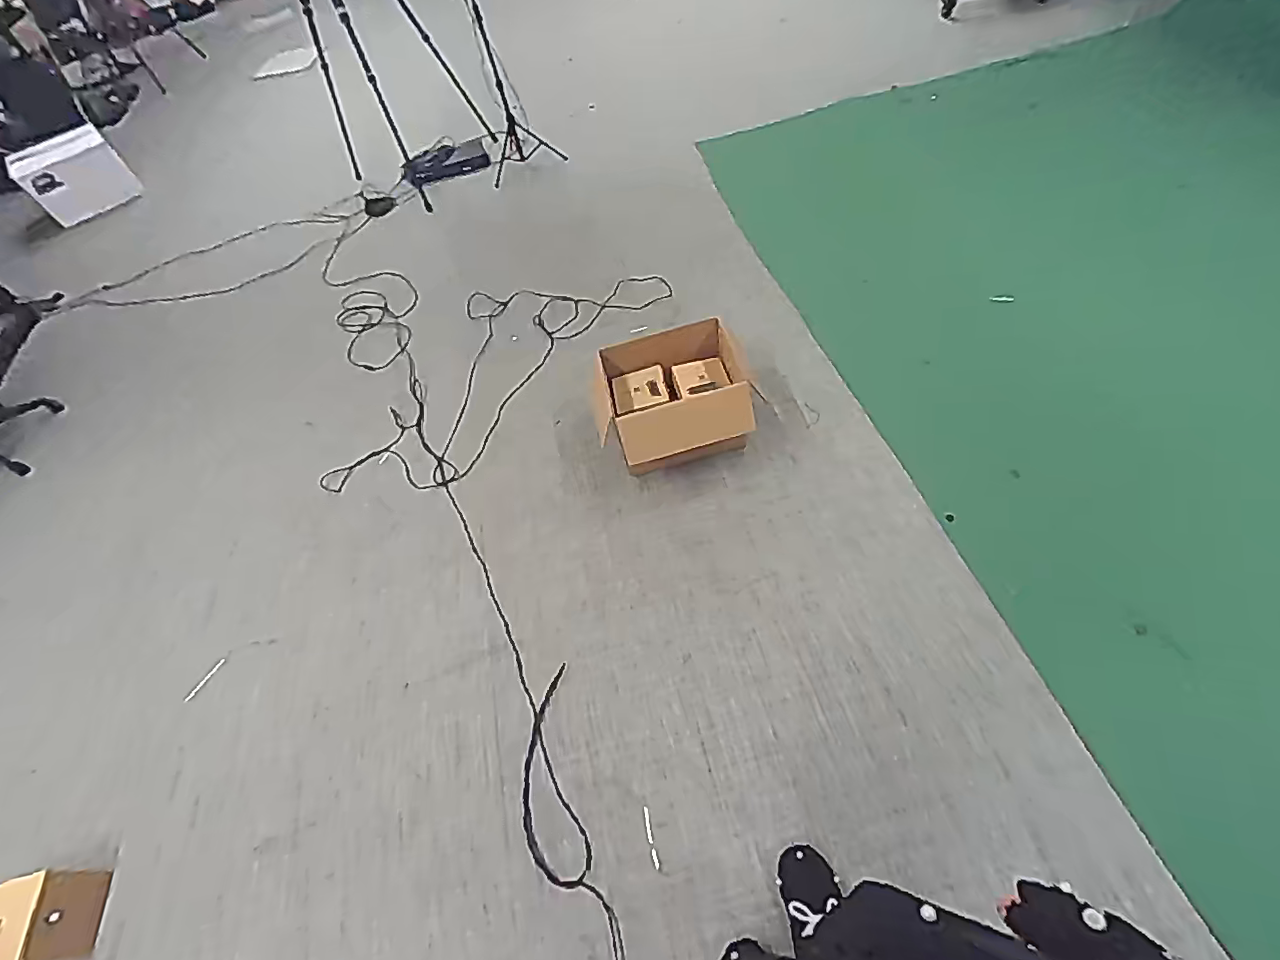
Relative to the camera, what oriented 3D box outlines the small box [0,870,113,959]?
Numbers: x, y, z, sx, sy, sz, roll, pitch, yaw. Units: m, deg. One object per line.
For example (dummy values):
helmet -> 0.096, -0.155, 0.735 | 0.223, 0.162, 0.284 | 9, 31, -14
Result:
small box -> -1.383, 1.024, 1.243 | 0.168, 0.176, 0.179 | -17, 56, -2
